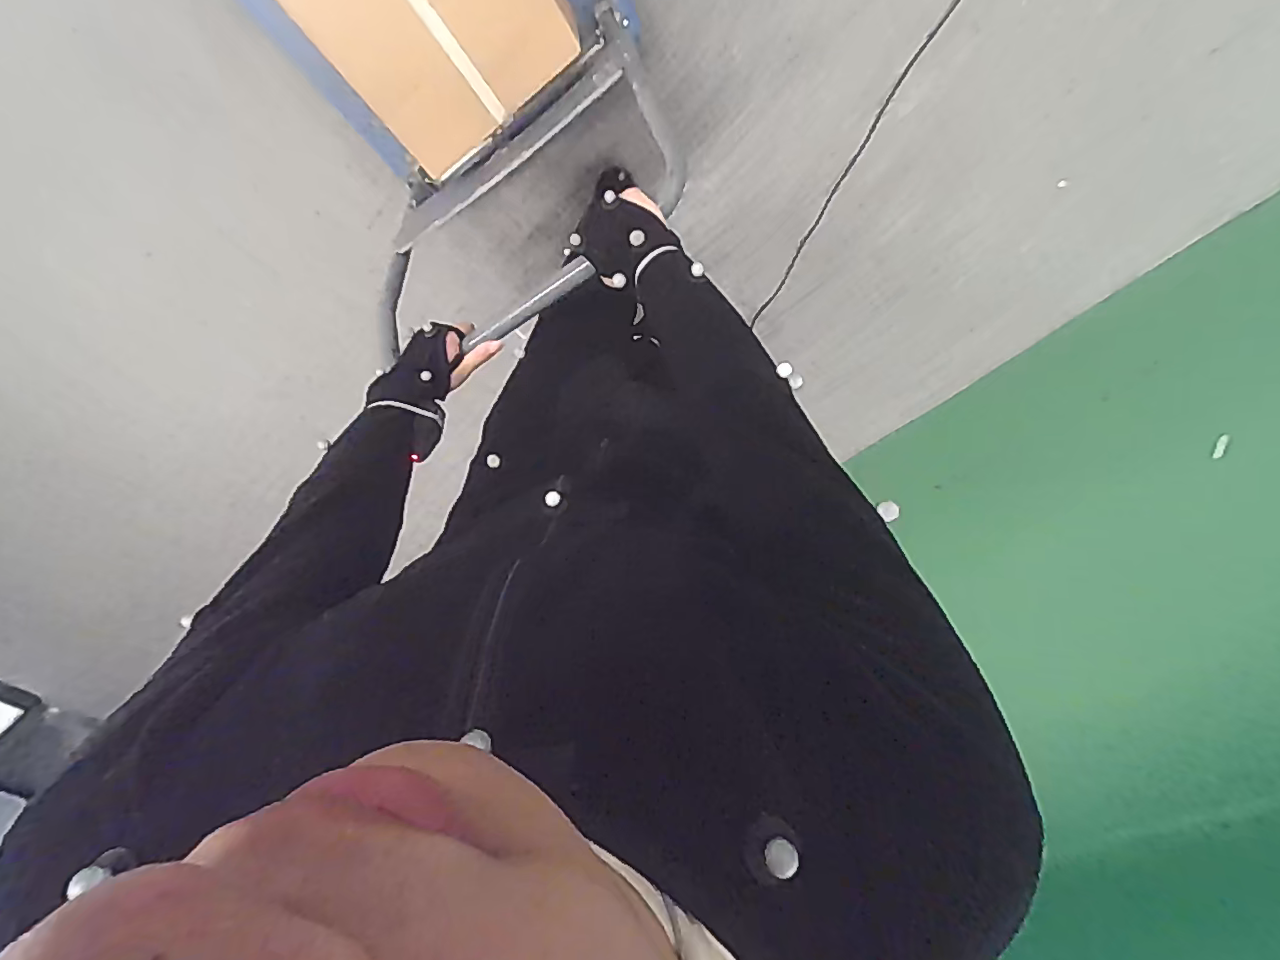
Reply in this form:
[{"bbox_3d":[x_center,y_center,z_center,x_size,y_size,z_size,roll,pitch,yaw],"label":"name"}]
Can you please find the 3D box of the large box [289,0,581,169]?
[{"bbox_3d":[-0.331,-0.799,0.836,0.320,0.320,0.408,-27,134,20],"label":"large box"}]
